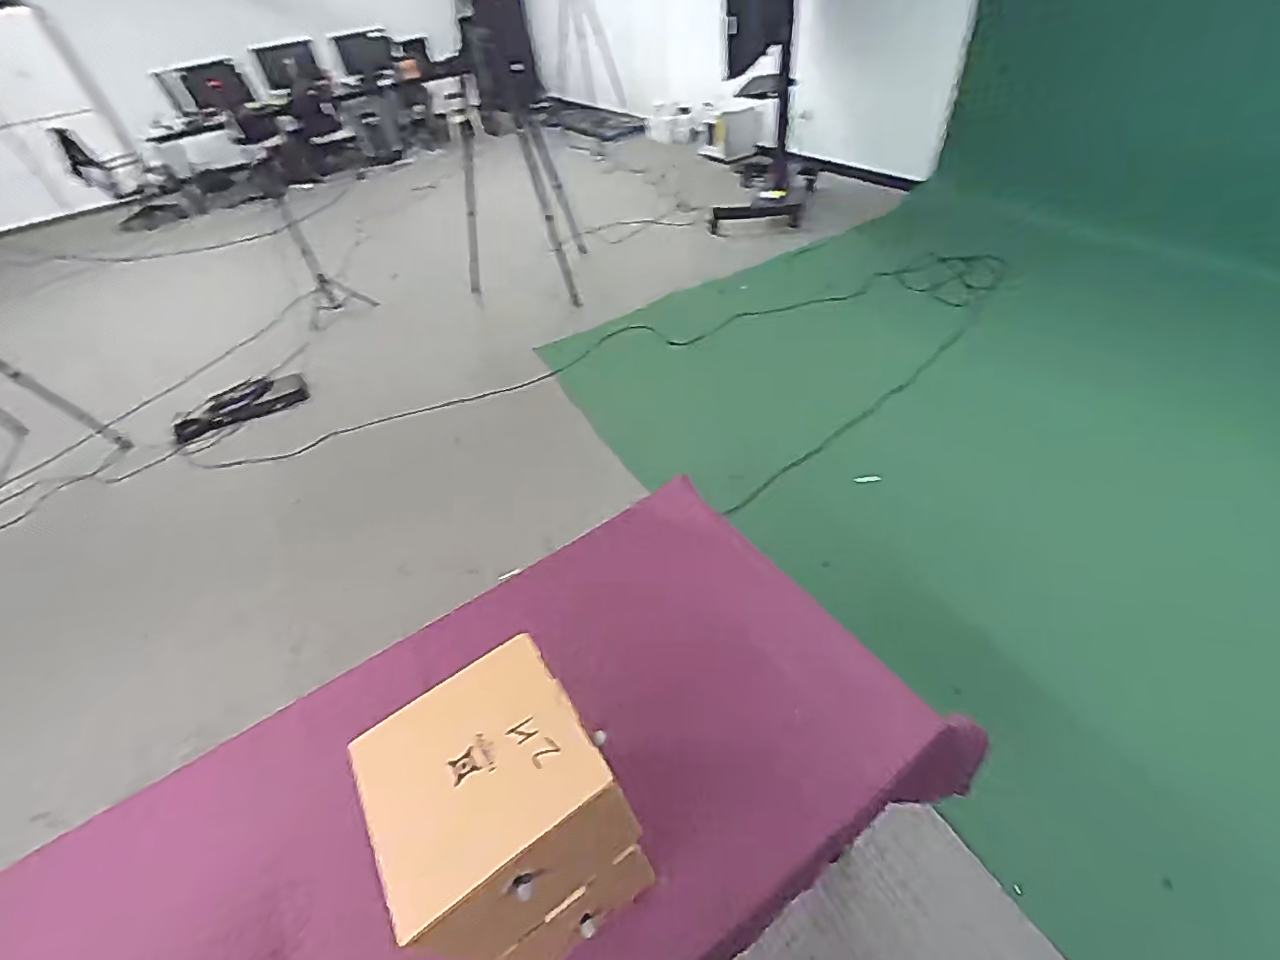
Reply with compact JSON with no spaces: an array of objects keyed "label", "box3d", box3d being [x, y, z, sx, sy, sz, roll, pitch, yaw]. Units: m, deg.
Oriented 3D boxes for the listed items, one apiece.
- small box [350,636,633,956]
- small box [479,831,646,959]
[{"label":"small box","box3d":[-0.126,0.288,0.497,0.179,0.176,0.168,-30,48,-19]},{"label":"small box","box3d":[-0.109,0.405,0.613,0.168,0.176,0.179,-29,48,-19]}]
